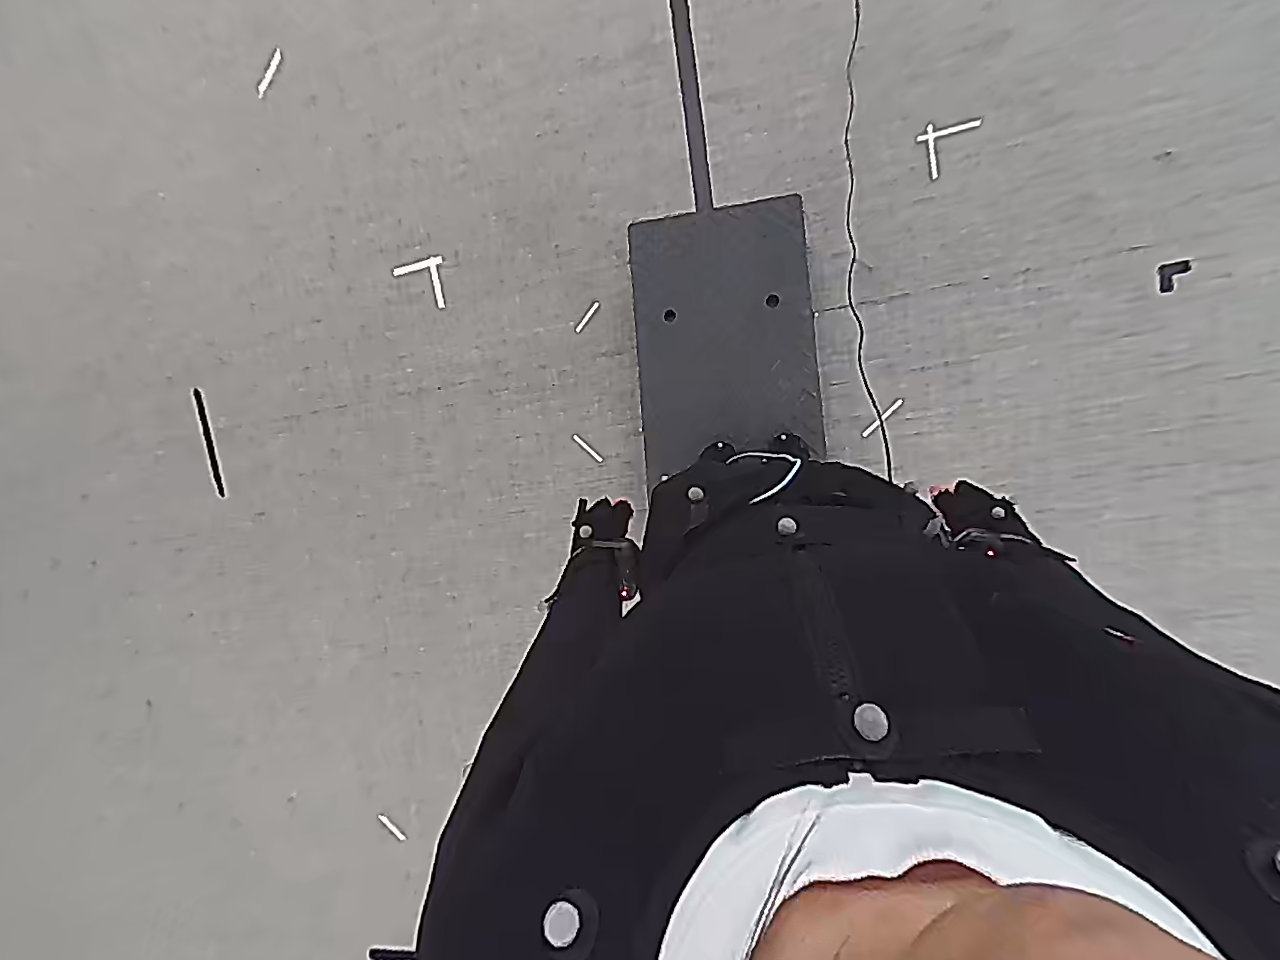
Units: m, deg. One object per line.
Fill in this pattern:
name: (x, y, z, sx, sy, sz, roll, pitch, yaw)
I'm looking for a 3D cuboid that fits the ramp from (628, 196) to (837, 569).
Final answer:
ramp: (0.237, -0.267, 1.494, 0.509, 0.206, 0.991, -7, 95, 12)
